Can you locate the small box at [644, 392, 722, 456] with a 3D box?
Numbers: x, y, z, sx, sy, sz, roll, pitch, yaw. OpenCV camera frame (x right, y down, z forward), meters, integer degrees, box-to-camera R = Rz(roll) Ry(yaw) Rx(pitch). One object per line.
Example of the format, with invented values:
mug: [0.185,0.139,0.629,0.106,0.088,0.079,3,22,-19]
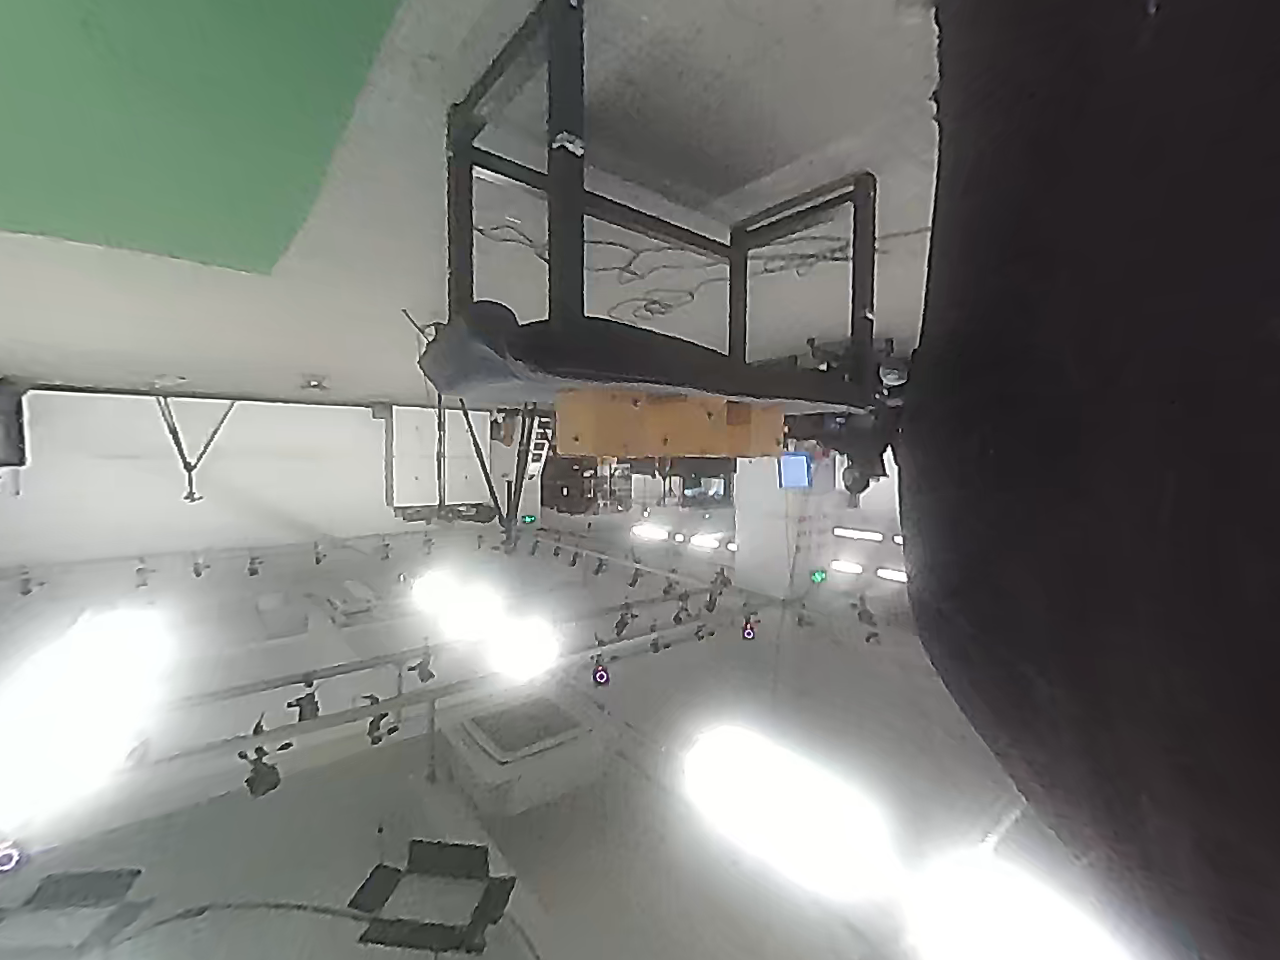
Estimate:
small box: [0.125,-0.157,1.555,0.168,0.176,0.179,-1,-177,-39]

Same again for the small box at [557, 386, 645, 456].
small box: [-0.105,-0.148,1.390,0.168,0.176,0.179,-2,-176,-39]
